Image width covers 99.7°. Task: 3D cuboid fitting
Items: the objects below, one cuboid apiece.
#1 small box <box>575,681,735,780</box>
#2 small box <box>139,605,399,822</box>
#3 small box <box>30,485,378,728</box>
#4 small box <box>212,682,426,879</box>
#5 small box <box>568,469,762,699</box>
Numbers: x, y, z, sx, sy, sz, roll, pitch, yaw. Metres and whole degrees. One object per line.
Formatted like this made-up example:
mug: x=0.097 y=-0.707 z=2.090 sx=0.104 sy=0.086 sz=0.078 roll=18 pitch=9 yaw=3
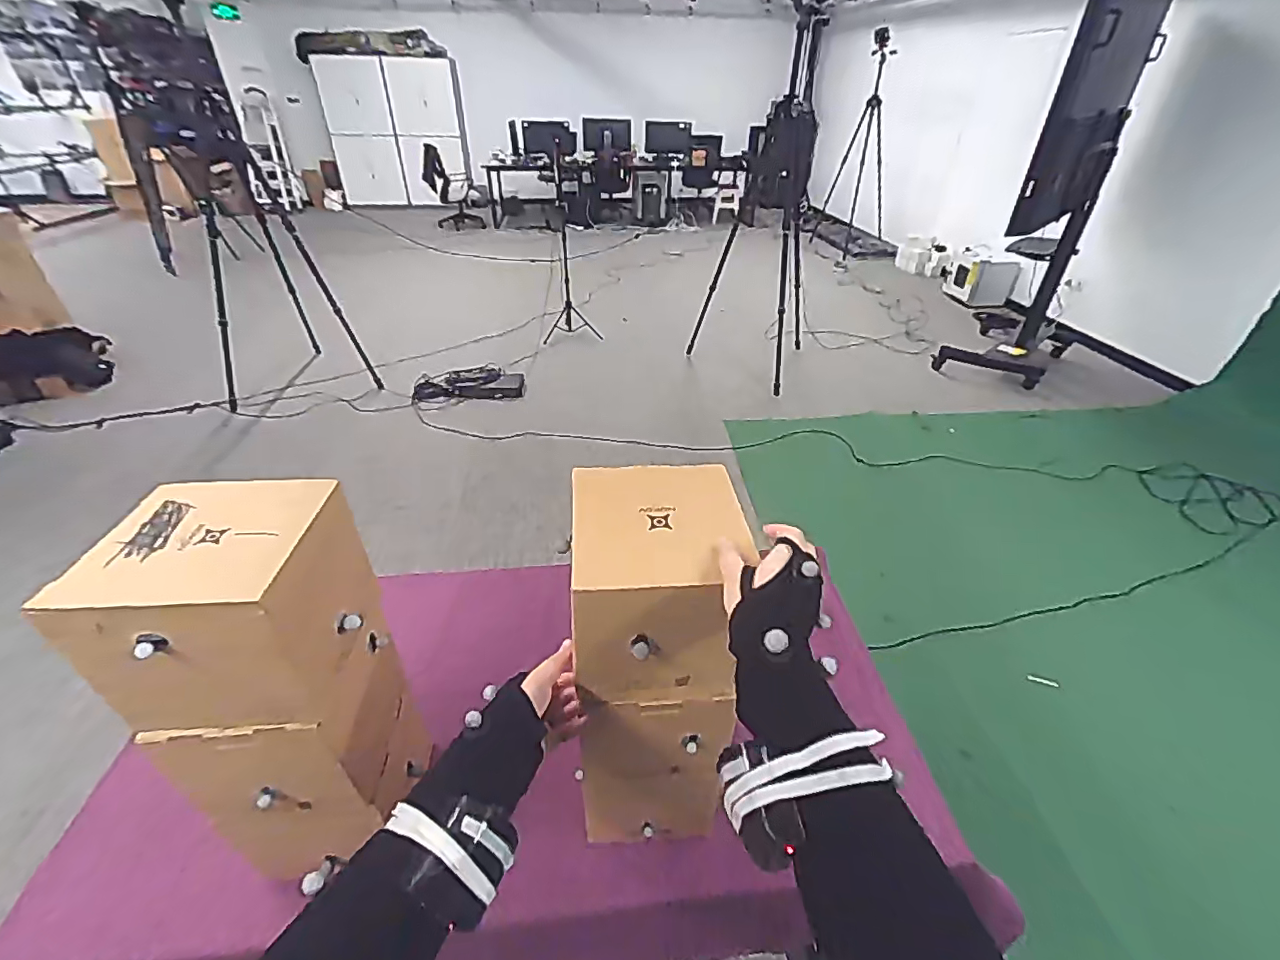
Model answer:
small box: x=0.009 y=0.240 z=0.654 sx=0.168 sy=0.176 sz=0.179 roll=-2 pitch=36 yaw=-6
small box: x=-0.393 y=0.255 z=0.619 sx=0.168 sy=0.176 sz=0.179 roll=-3 pitch=36 yaw=-5
small box: x=-0.385 y=0.121 z=0.525 sx=0.179 sy=0.176 sz=0.168 roll=-1 pitch=35 yaw=-4
small box: x=-0.396 y=0.392 z=0.711 sx=0.179 sy=0.176 sz=0.168 roll=-3 pitch=35 yaw=-7
small box: x=0.013 y=0.107 z=0.559 sx=0.168 sy=0.176 sz=0.179 roll=-1 pitch=36 yaw=-6
